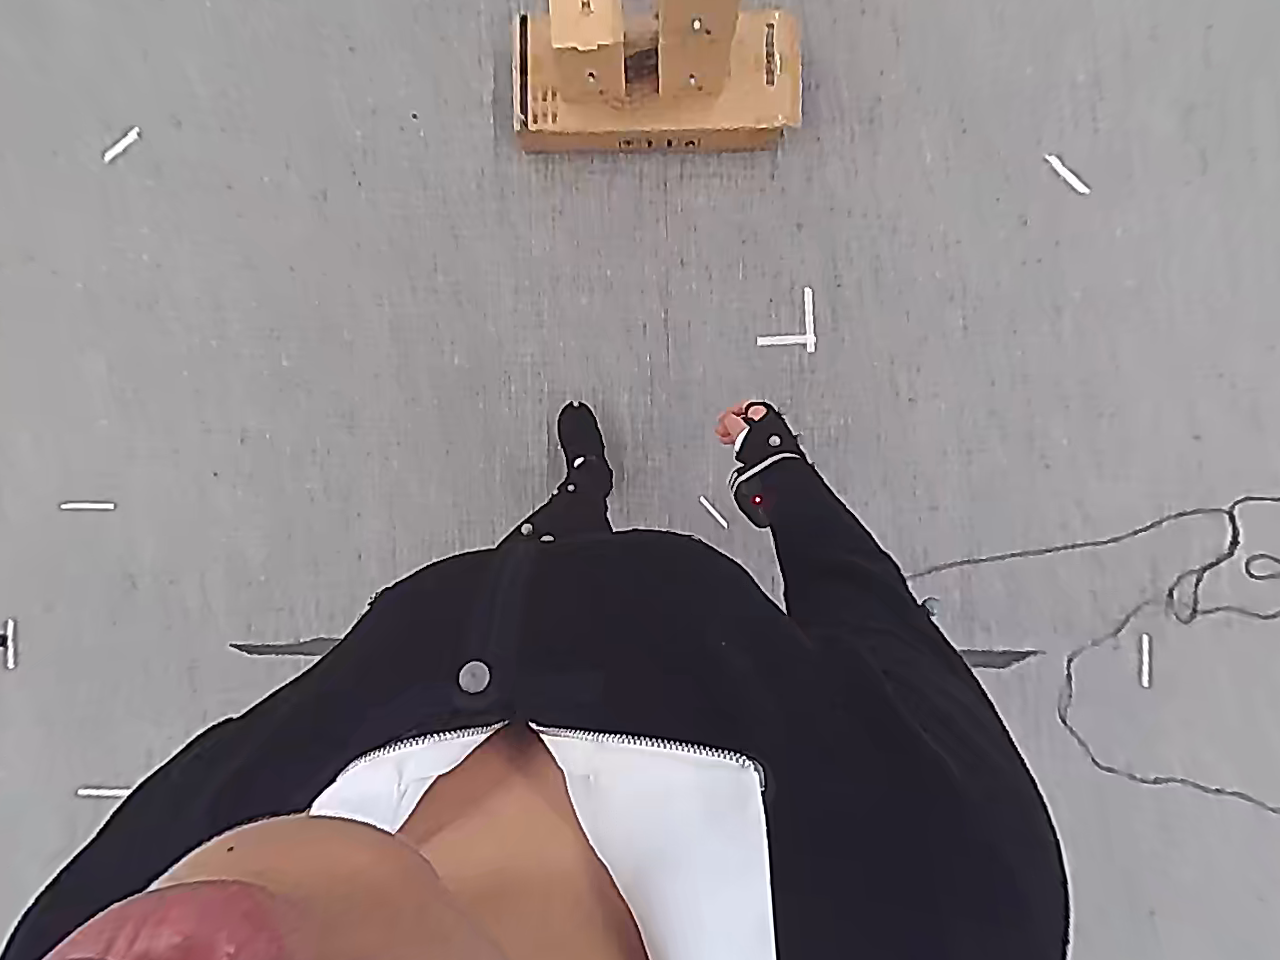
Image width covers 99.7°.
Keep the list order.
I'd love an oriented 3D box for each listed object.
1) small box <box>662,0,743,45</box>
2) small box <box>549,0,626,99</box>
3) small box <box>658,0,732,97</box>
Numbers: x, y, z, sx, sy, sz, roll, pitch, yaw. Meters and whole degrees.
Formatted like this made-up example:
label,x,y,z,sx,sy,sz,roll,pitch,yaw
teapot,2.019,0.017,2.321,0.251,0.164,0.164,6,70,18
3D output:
label,x,y,z,sx,sy,sz,roll,pitch,yaw
small box,0.133,-1.068,1.134,0.168,0.176,0.179,3,90,1
small box,-0.121,-1.055,1.302,0.168,0.176,0.179,-3,90,1
small box,0.127,-1.065,1.298,0.168,0.176,0.179,-1,89,1
